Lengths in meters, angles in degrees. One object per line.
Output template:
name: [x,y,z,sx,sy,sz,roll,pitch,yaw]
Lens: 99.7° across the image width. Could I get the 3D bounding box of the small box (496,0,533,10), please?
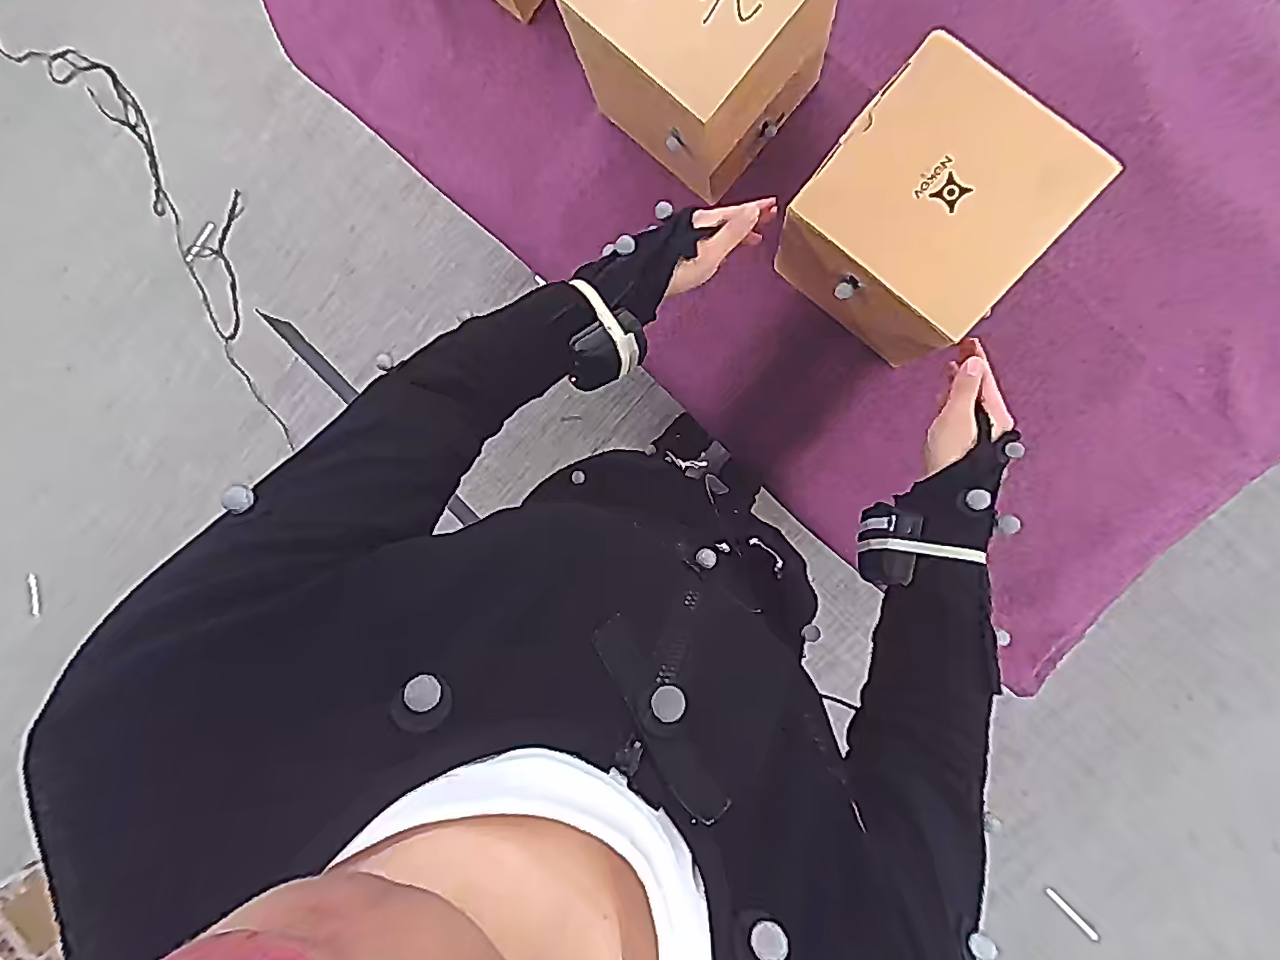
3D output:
small box: [-0.154,-0.631,0.535,0.179,0.176,0.168,41,100,2]
